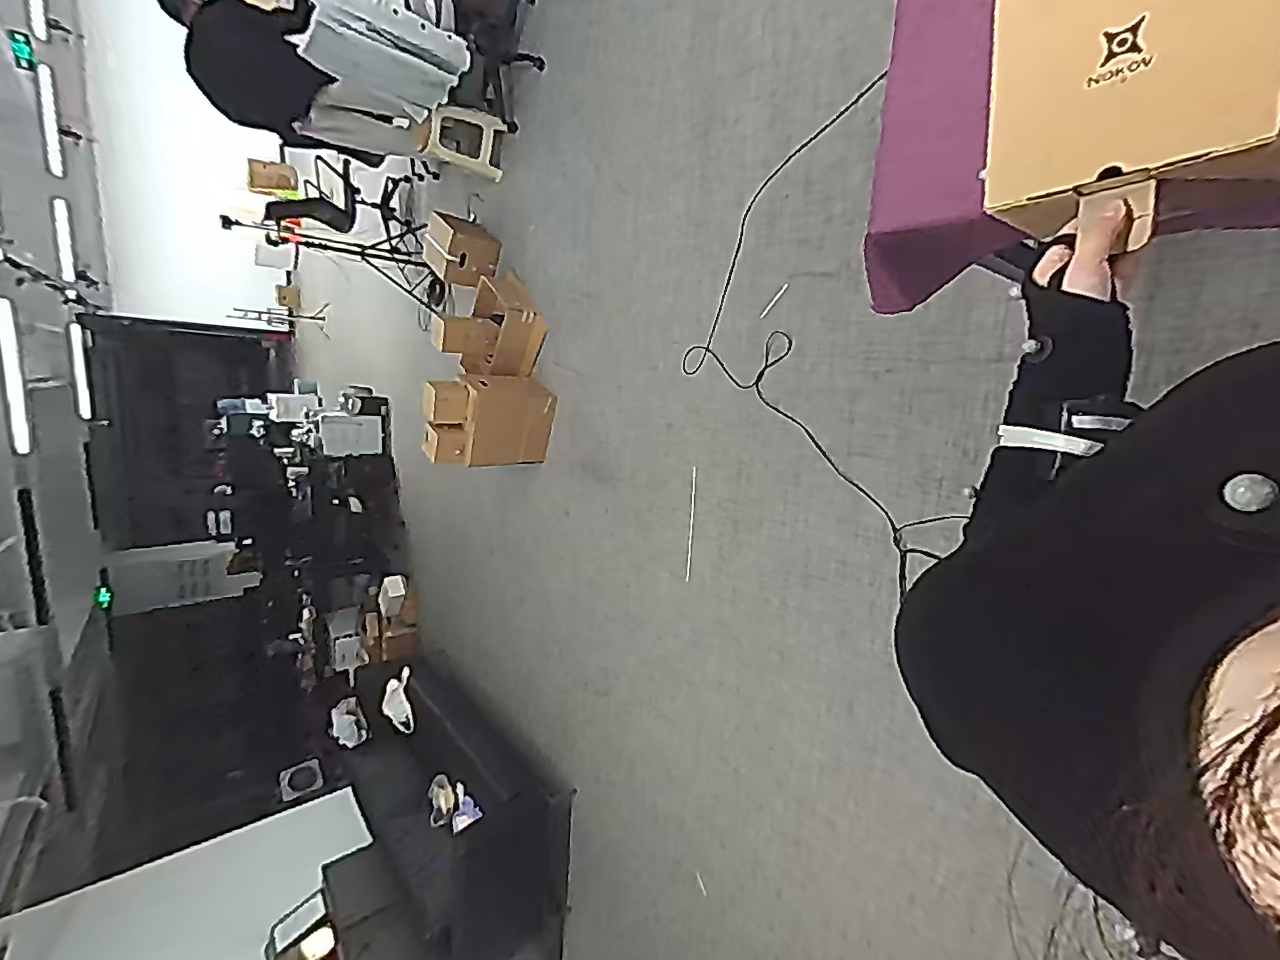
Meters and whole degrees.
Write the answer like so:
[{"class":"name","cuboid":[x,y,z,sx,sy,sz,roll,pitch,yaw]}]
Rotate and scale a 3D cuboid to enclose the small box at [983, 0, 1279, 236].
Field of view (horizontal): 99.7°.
[{"class":"small box","cuboid":[0.413,-0.324,0.453,0.168,0.176,0.179,9,105,49]}]
